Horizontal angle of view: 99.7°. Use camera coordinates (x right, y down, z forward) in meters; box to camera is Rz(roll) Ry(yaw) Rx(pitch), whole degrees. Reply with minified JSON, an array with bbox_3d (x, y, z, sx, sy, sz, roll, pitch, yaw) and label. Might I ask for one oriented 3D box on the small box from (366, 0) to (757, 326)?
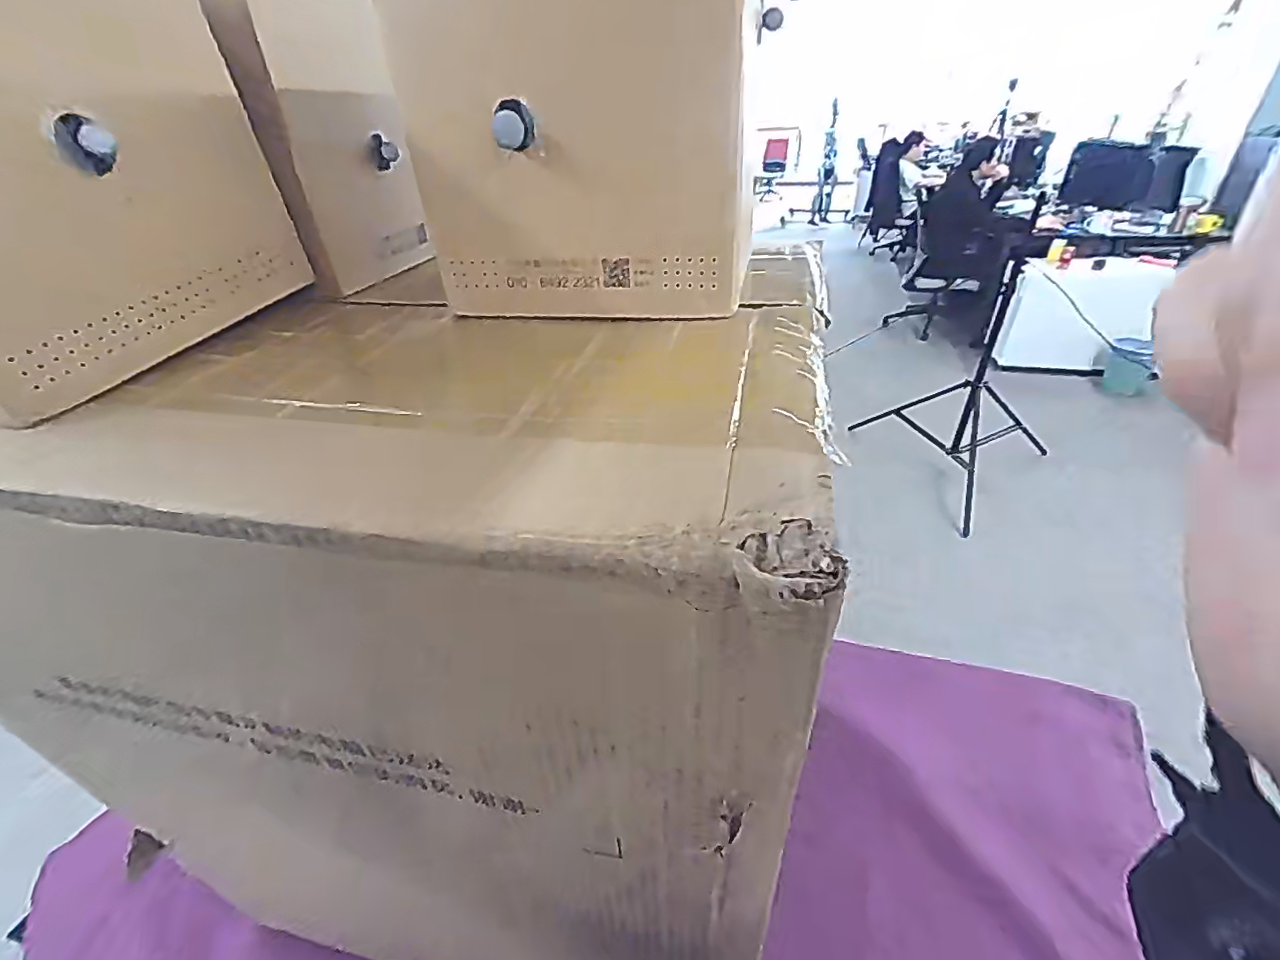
[{"bbox_3d":[-0.018,-0.198,0.324,0.168,0.176,0.179,4,34,12],"label":"small box"}]
